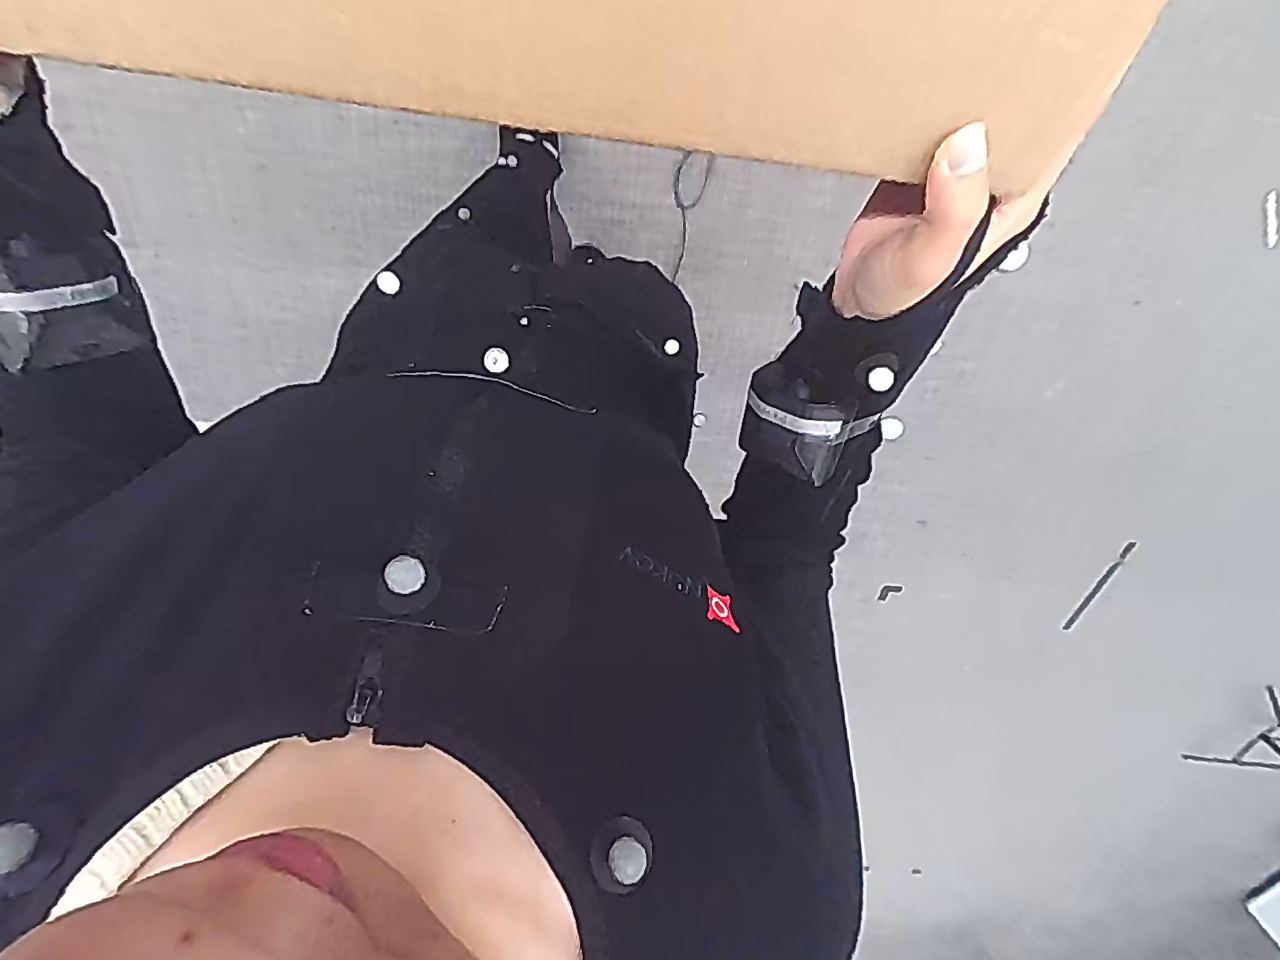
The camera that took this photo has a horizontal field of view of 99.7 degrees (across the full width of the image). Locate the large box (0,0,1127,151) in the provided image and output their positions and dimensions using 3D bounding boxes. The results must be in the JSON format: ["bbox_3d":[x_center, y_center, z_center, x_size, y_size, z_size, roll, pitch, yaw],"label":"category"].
[{"bbox_3d":[-0.030,-0.348,0.156,0.408,0.320,0.320,5,146,-4],"label":"large box"}]
